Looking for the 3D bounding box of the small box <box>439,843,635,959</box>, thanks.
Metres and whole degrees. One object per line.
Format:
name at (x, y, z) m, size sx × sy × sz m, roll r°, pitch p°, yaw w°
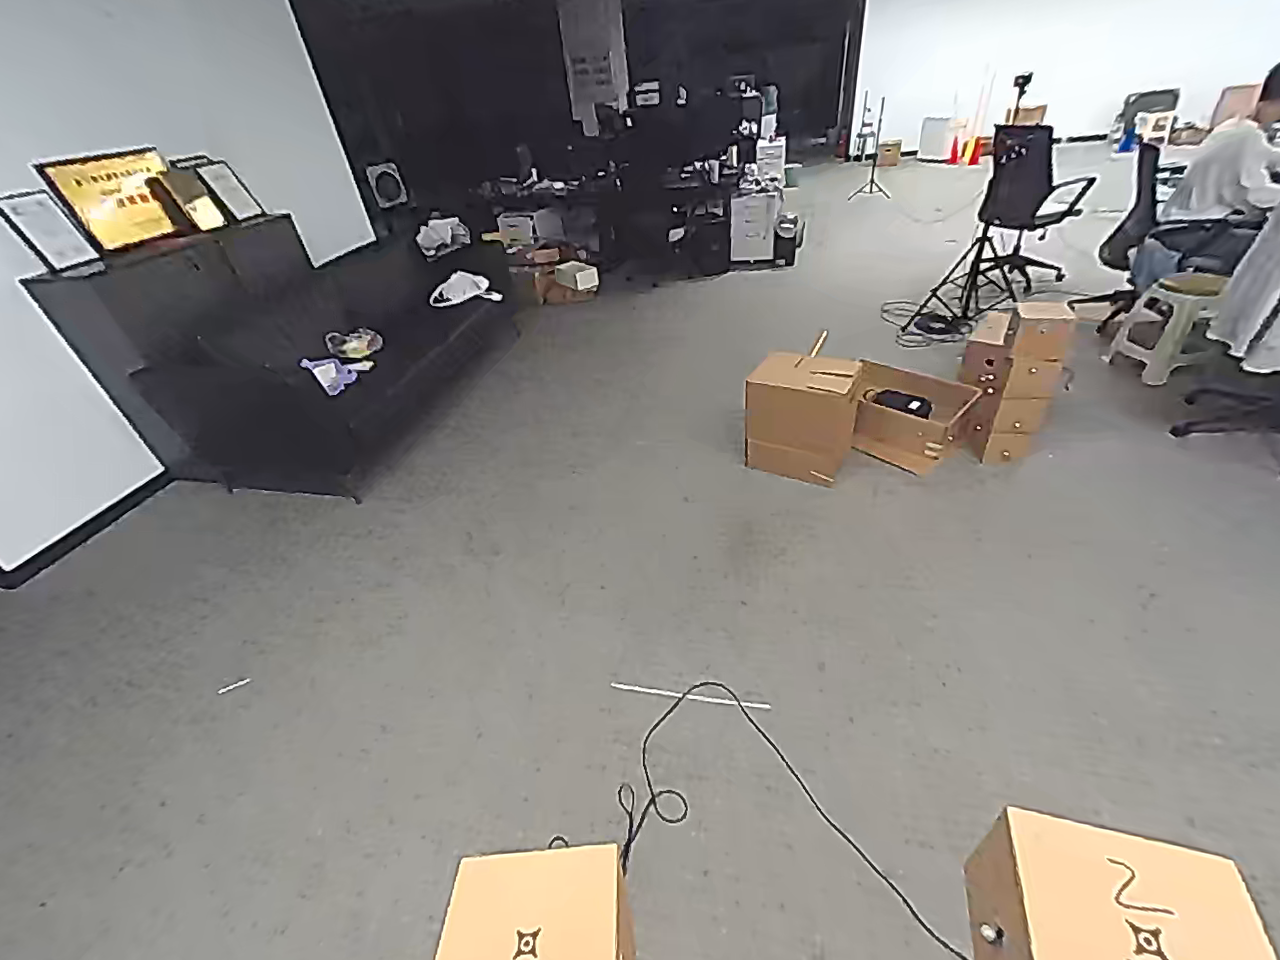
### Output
small box at (-0.093, 0.496, 0.523) m, size 0.168 × 0.176 × 0.179 m, roll -6°, pitch 24°, yaw 1°
